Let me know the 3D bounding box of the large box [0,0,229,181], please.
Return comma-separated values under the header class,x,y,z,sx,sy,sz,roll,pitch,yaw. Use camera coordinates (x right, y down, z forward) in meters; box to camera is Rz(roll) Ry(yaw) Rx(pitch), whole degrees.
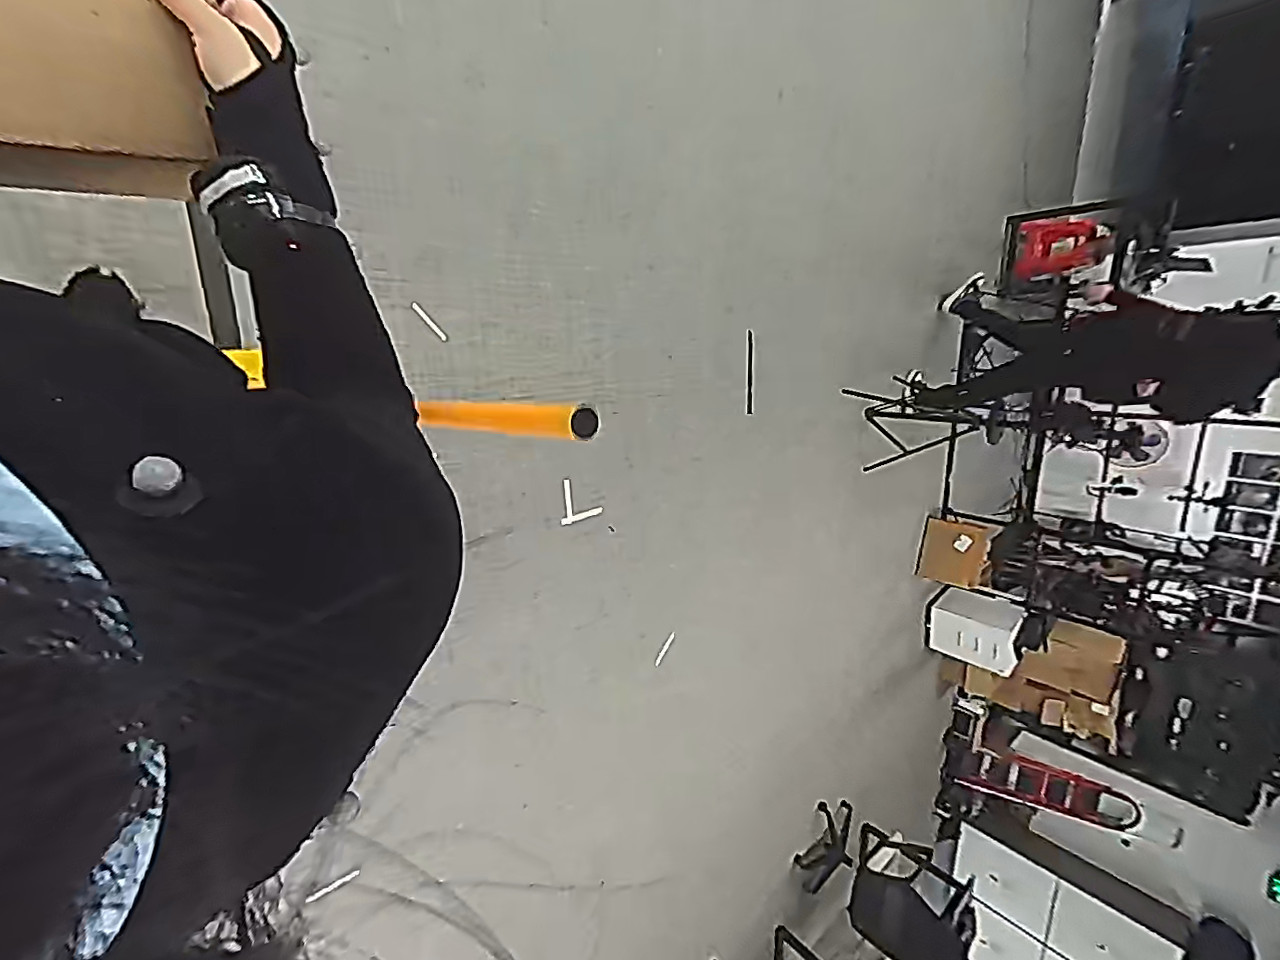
class,x,y,z,sx,sy,sz,roll,pitch,yaw
large box,-0.571,-0.394,0.352,0.408,0.320,0.320,-19,118,-39
